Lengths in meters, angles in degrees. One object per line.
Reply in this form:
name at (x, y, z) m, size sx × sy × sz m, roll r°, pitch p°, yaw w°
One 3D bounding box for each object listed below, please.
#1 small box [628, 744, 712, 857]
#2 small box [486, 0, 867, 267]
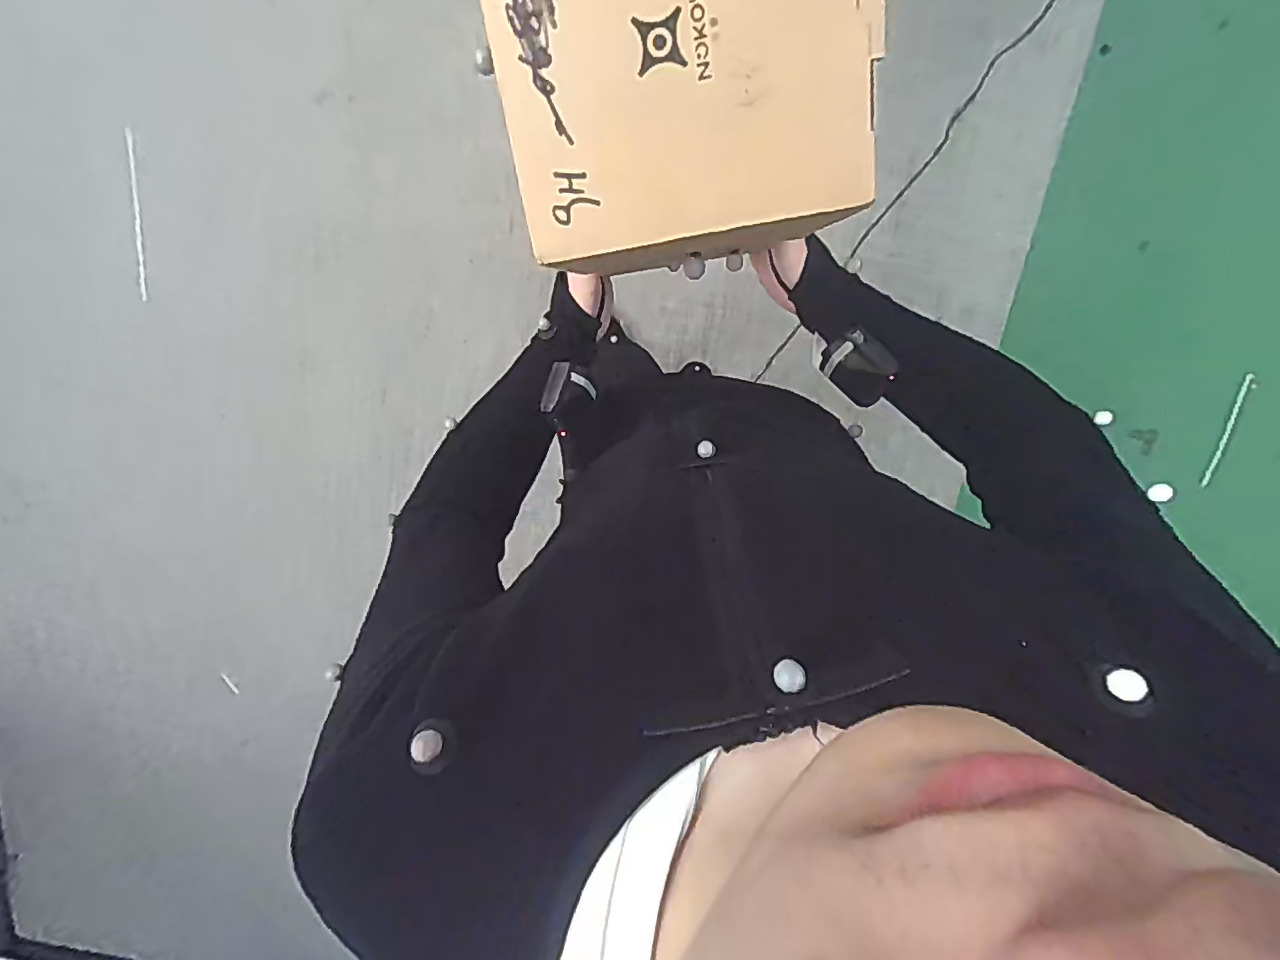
small box at (0.080, 0.826, 1.409) m, size 0.179 × 0.176 × 0.168 m, roll 16°, pitch 103°, yaw 2°
small box at (0.021, -0.231, 0.331) m, size 0.179 × 0.176 × 0.168 m, roll -7°, pitch 108°, yaw 6°
